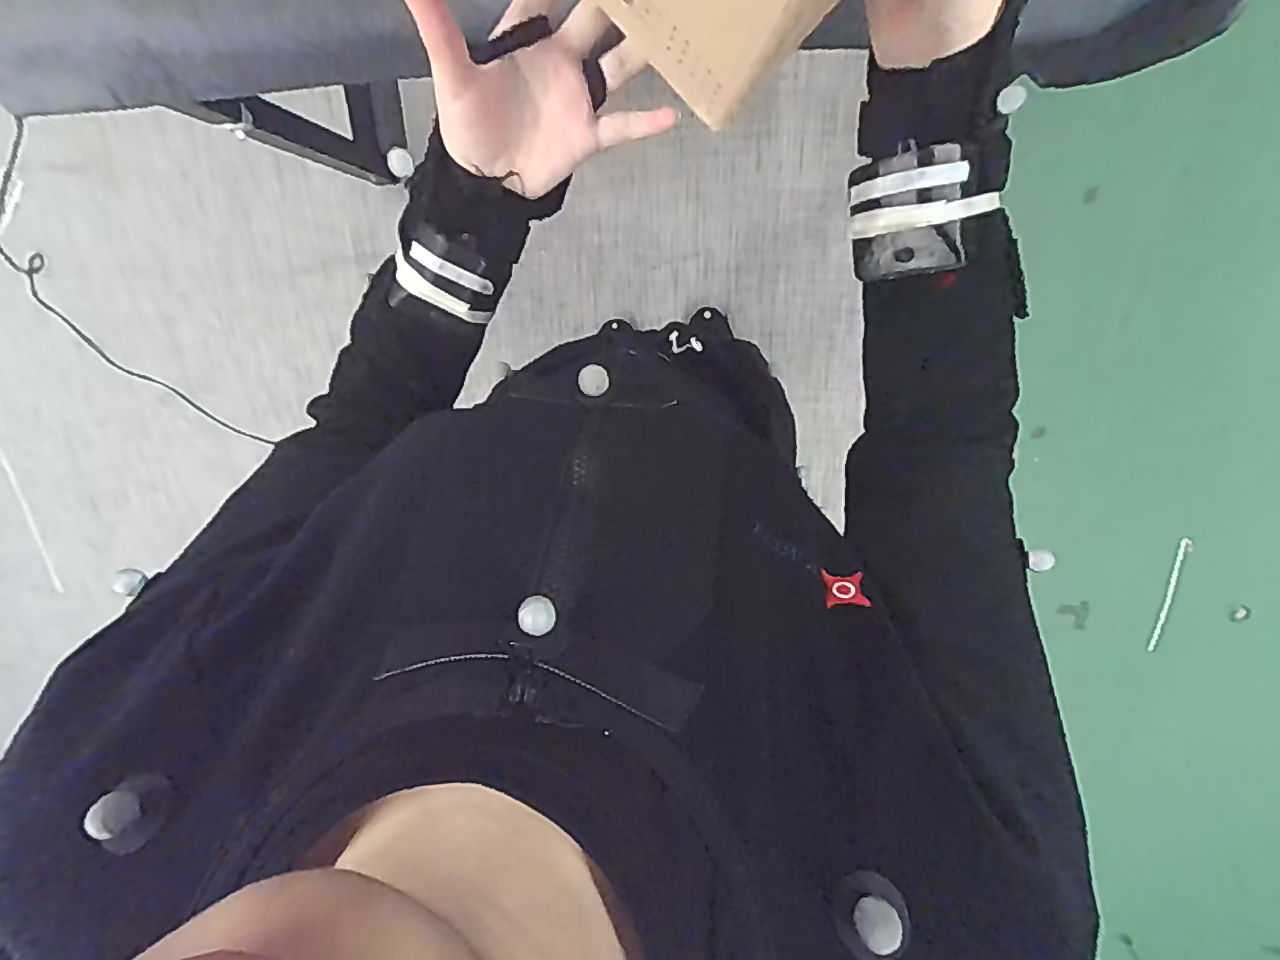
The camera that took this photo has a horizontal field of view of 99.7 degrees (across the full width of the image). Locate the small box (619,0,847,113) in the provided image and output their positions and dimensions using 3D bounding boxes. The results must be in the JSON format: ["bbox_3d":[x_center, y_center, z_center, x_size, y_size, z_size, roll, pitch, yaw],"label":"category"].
[{"bbox_3d":[0.041,-0.246,0.132,0.168,0.176,0.179,40,96,-13],"label":"small box"}]
